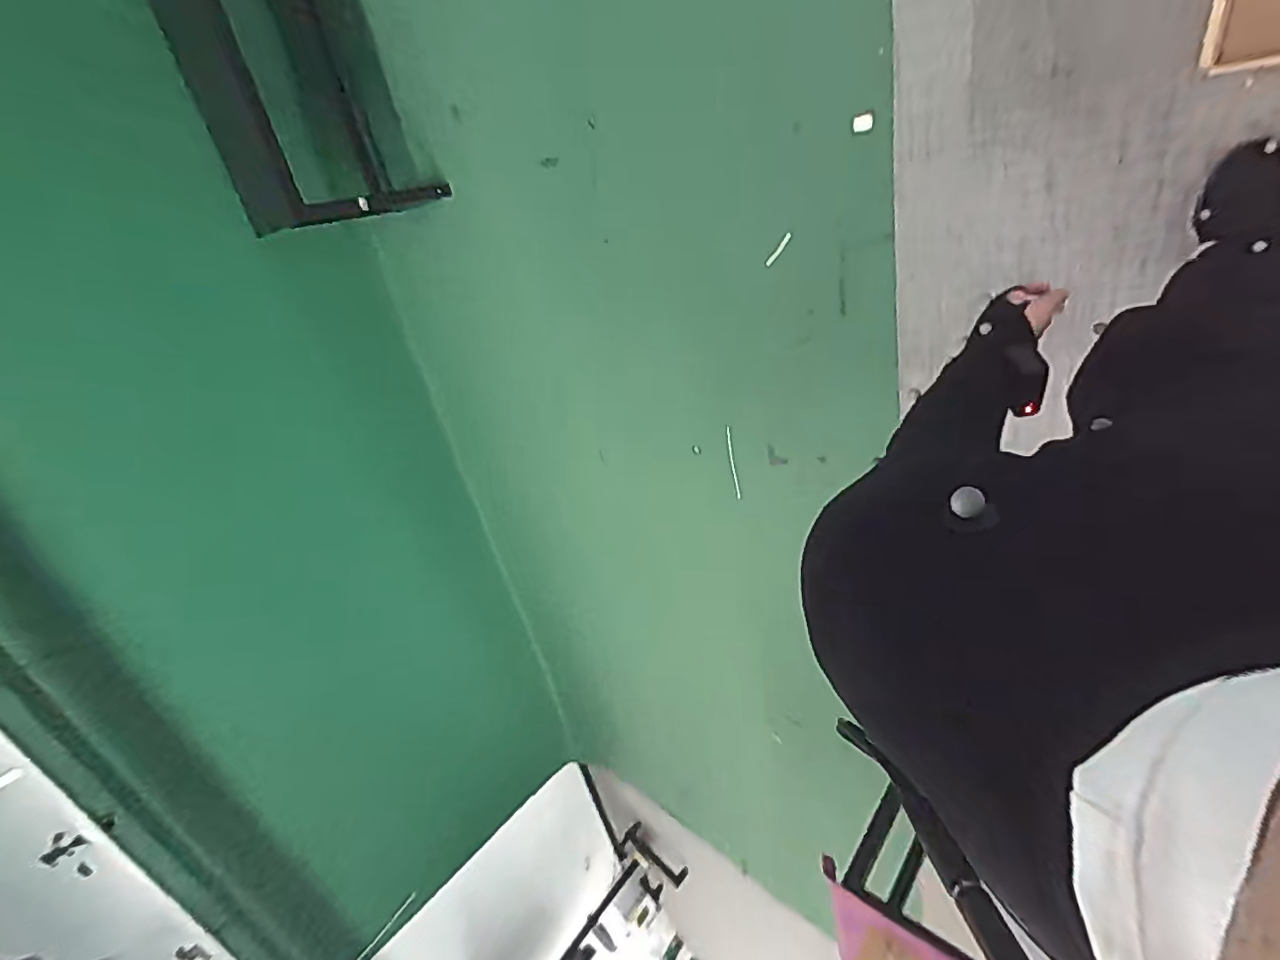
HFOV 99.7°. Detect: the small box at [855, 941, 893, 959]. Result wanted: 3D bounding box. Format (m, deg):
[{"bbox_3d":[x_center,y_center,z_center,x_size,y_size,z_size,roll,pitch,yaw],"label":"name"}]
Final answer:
[{"bbox_3d":[0.686,1.482,1.533,0.168,0.176,0.179,11,123,42],"label":"small box"}]
